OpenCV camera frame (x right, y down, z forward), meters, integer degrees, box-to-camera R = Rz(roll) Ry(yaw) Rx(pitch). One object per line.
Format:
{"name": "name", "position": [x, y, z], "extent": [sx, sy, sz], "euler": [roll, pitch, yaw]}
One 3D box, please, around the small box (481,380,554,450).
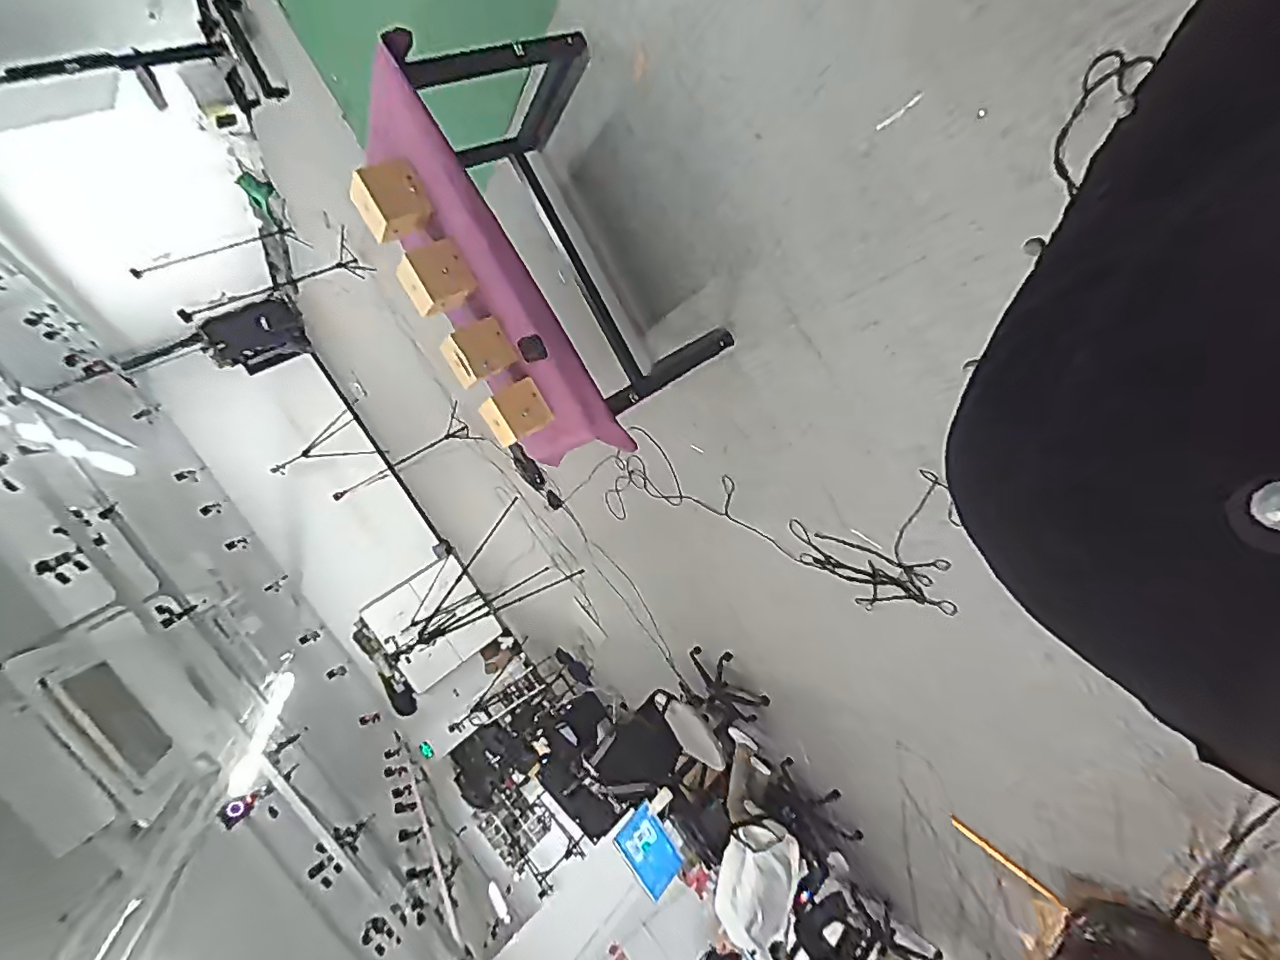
{"name": "small box", "position": [-0.421, -0.227, 1.884], "extent": [0.168, 0.176, 0.179], "euler": [59, 152, -9]}

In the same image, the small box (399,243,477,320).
{"name": "small box", "position": [-0.661, -0.655, 1.782], "extent": [0.179, 0.176, 0.168], "euler": [-4, 117, 58]}

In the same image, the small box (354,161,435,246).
{"name": "small box", "position": [-0.781, -0.879, 1.722], "extent": [0.179, 0.176, 0.168], "euler": [-2, 120, 57]}
